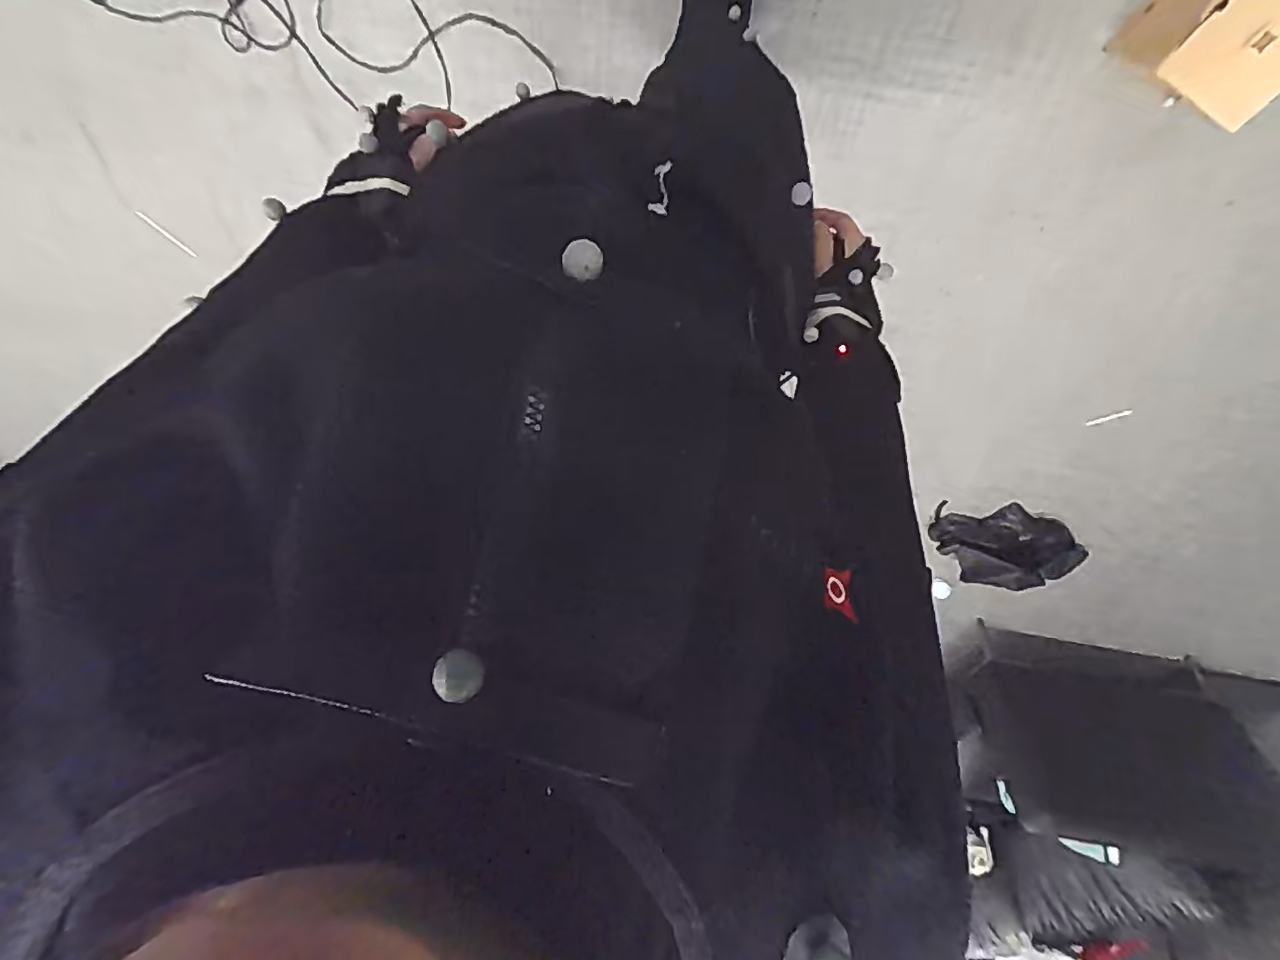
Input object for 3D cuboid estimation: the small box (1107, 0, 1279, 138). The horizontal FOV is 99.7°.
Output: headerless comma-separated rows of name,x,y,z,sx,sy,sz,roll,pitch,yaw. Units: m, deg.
small box,0.856,-0.651,0.793,0.179,0.176,0.168,23,136,-13
